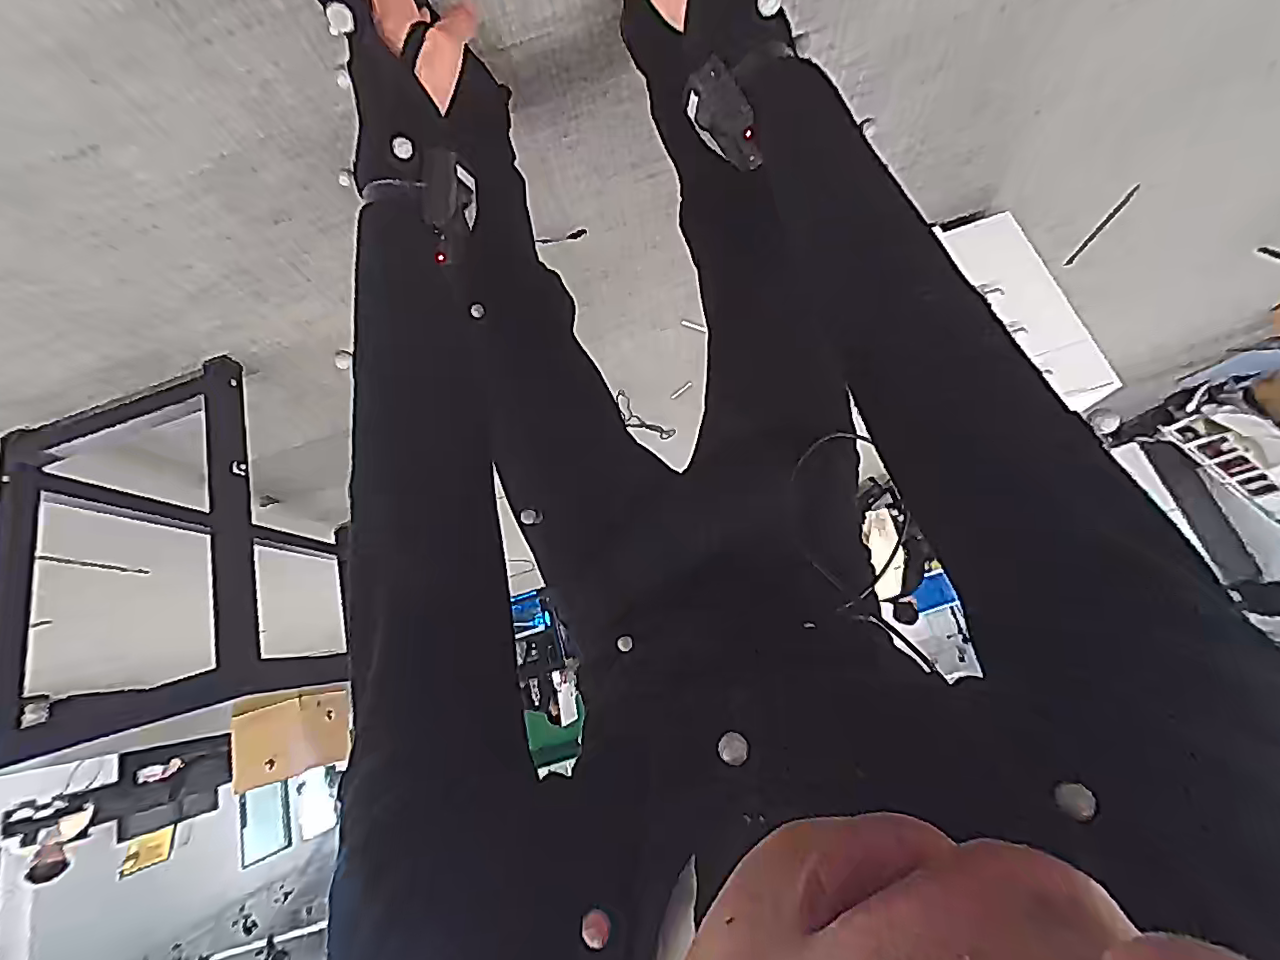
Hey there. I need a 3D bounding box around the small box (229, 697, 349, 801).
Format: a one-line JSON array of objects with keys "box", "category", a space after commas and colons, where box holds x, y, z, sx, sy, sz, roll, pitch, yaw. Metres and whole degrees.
[{"box": [-0.823, 0.624, 1.275, 0.179, 0.176, 0.168, -18, 162, 3], "category": "small box"}]
